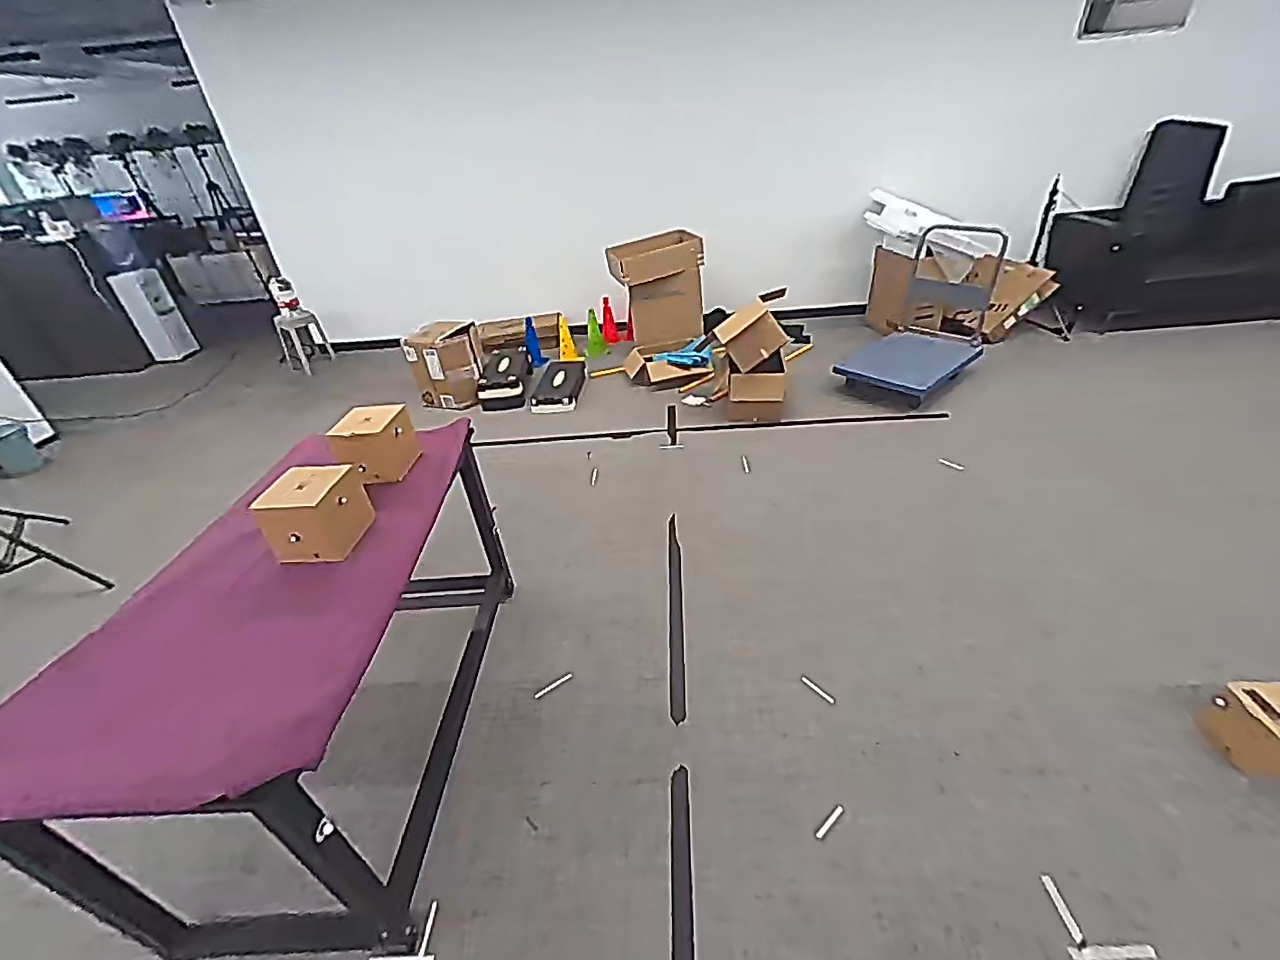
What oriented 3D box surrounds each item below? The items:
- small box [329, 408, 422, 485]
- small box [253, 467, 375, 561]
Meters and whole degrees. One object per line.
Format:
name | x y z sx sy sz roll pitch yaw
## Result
small box | -0.773 -0.099 1.604 0.168 0.176 0.179 -3 34 6
small box | -0.783 0.086 1.324 0.168 0.176 0.179 -2 33 5
